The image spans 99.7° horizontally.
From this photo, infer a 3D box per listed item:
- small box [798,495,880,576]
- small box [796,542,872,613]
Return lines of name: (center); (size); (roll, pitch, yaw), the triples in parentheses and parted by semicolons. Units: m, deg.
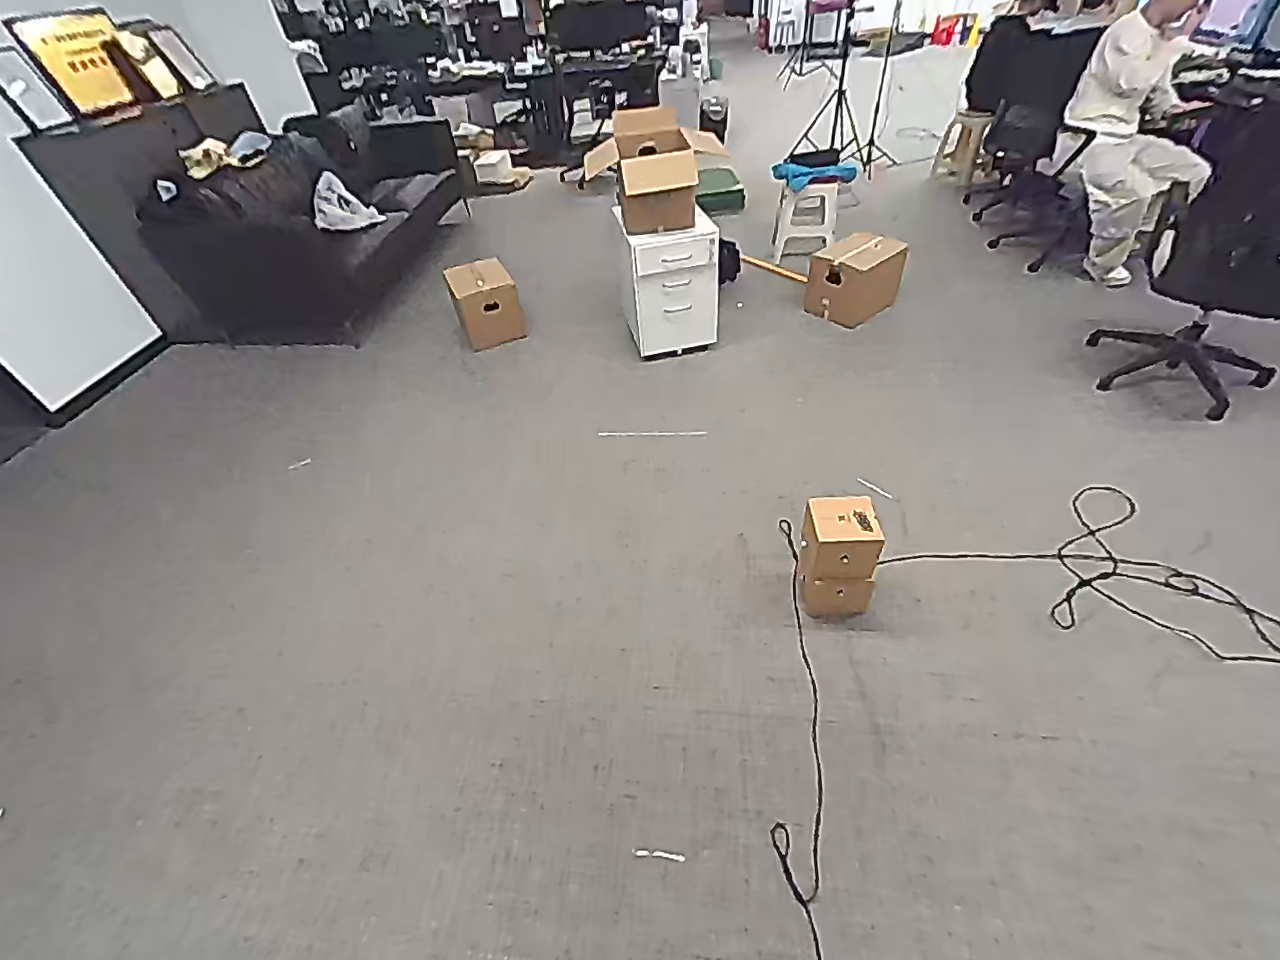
small box: (0.563, 0.161, 1.550); (0.179, 0.176, 0.168); (-3, 43, 6)
small box: (0.580, 0.291, 1.649); (0.179, 0.176, 0.168); (-4, 44, 2)
